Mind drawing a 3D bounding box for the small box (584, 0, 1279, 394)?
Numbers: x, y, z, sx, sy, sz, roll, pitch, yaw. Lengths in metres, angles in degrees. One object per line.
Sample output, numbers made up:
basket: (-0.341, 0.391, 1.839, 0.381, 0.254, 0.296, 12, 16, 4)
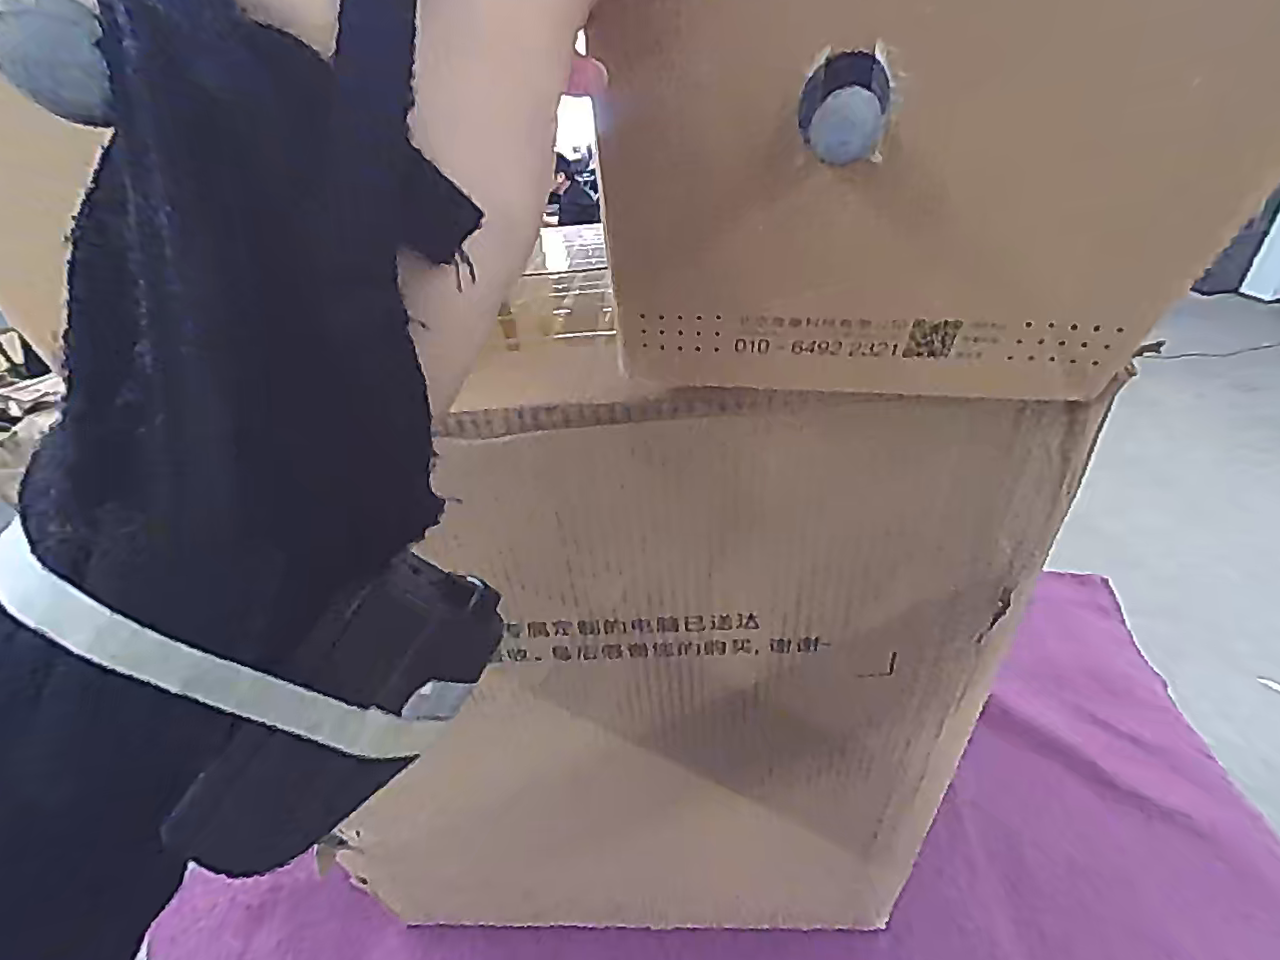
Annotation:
small box: (0.081, -0.145, 0.181, 0.168, 0.176, 0.179, 3, 53, 8)
